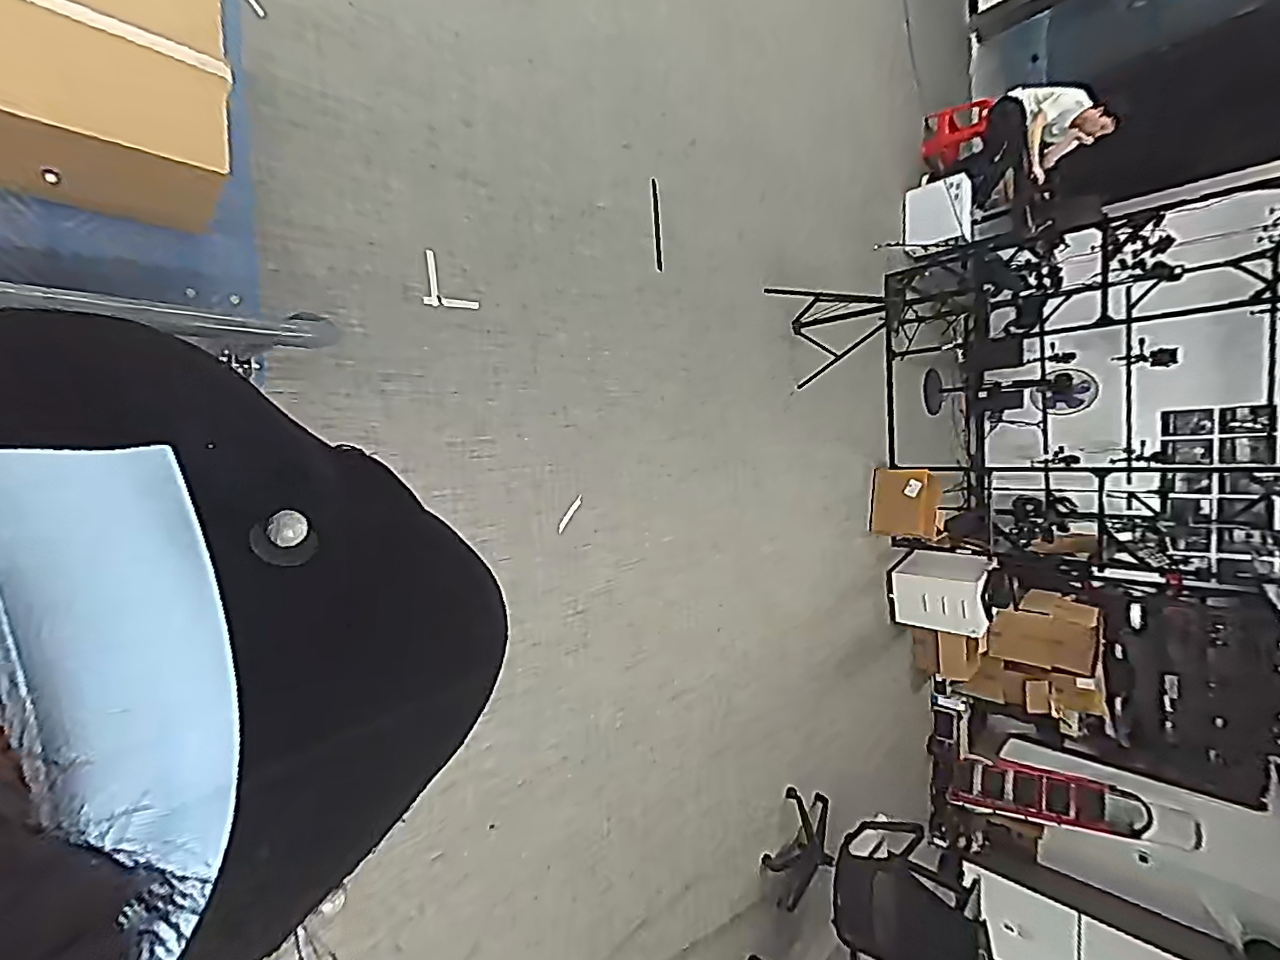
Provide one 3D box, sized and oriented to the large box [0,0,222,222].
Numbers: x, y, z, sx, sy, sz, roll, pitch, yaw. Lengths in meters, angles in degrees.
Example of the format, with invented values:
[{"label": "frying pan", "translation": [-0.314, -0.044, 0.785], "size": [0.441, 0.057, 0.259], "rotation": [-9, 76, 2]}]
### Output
[{"label": "large box", "translation": [-0.907, -0.637, 0.813], "size": [0.408, 0.320, 0.320], "rotation": [-3, 92, -44]}]
